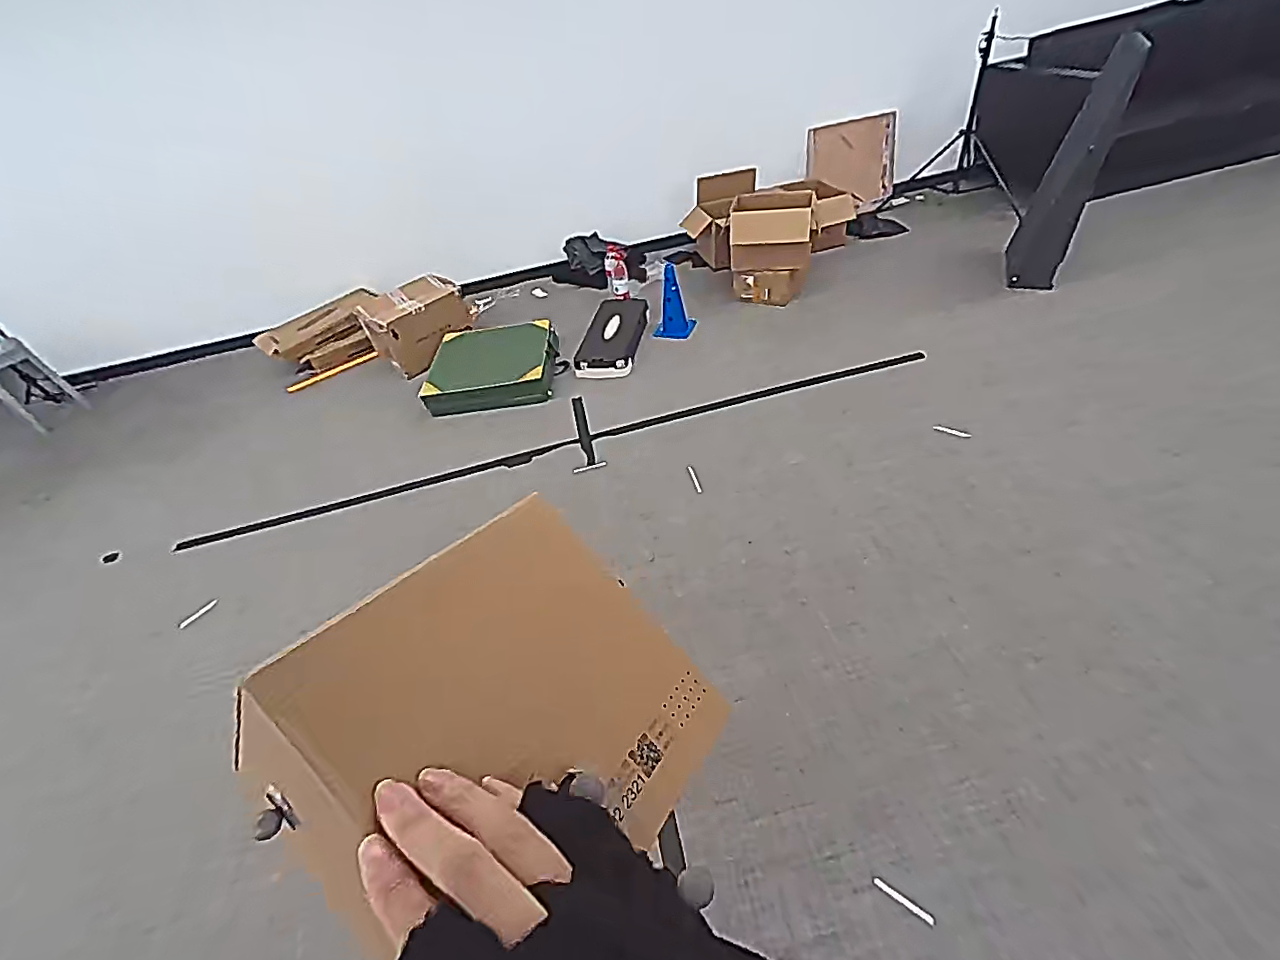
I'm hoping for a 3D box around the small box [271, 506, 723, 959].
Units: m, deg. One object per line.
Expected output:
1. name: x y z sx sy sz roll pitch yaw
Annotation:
1. small box: -0.086 0.154 0.325 0.176 0.179 0.168 47 42 5
